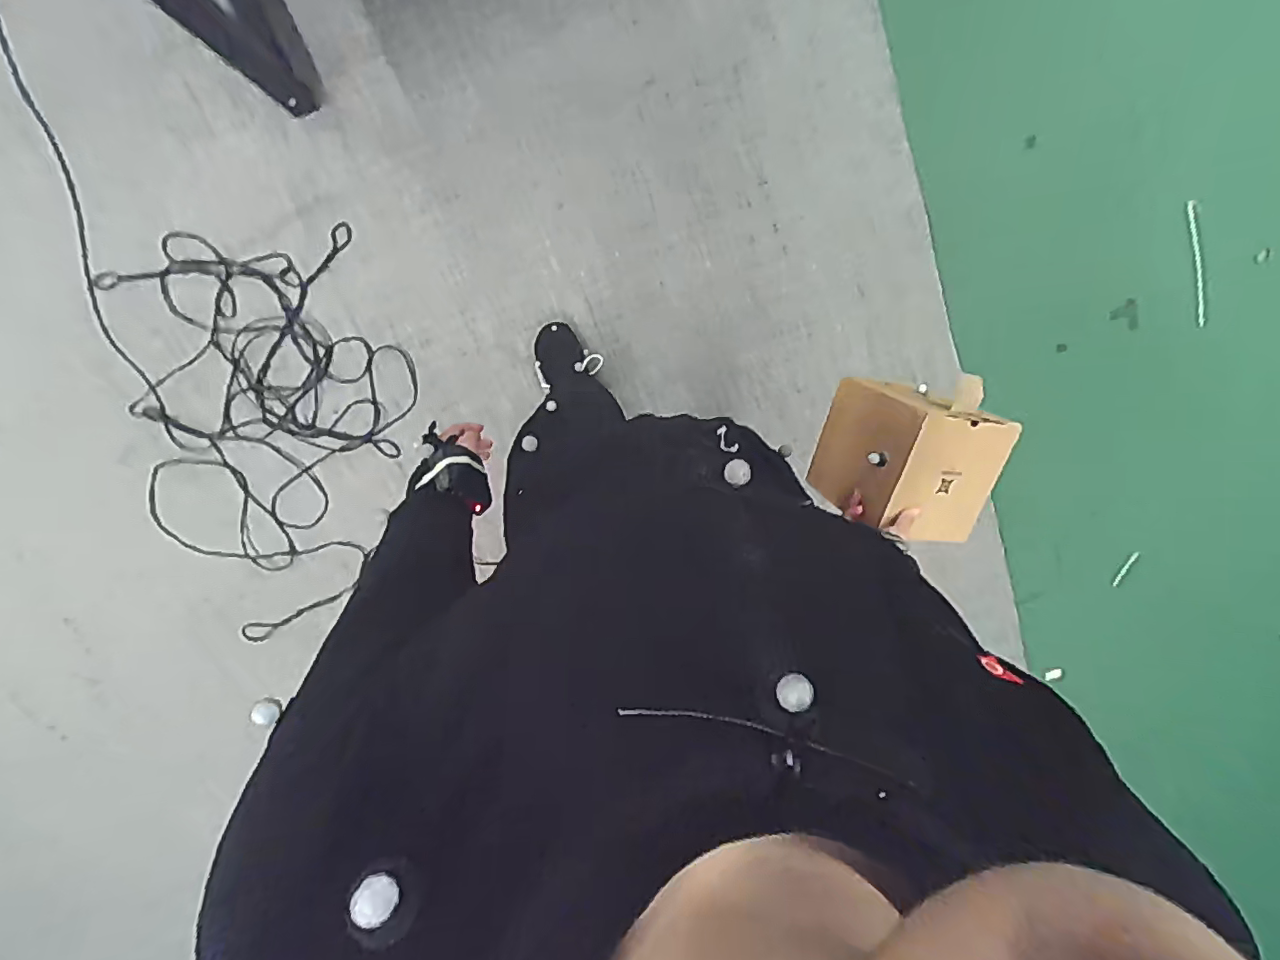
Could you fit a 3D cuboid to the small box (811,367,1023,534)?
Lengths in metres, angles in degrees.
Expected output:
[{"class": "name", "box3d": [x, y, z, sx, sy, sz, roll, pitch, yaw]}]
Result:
[{"class": "small box", "box3d": [0.367, -0.043, 0.753, 0.168, 0.176, 0.179, 4, 114, -21]}]
